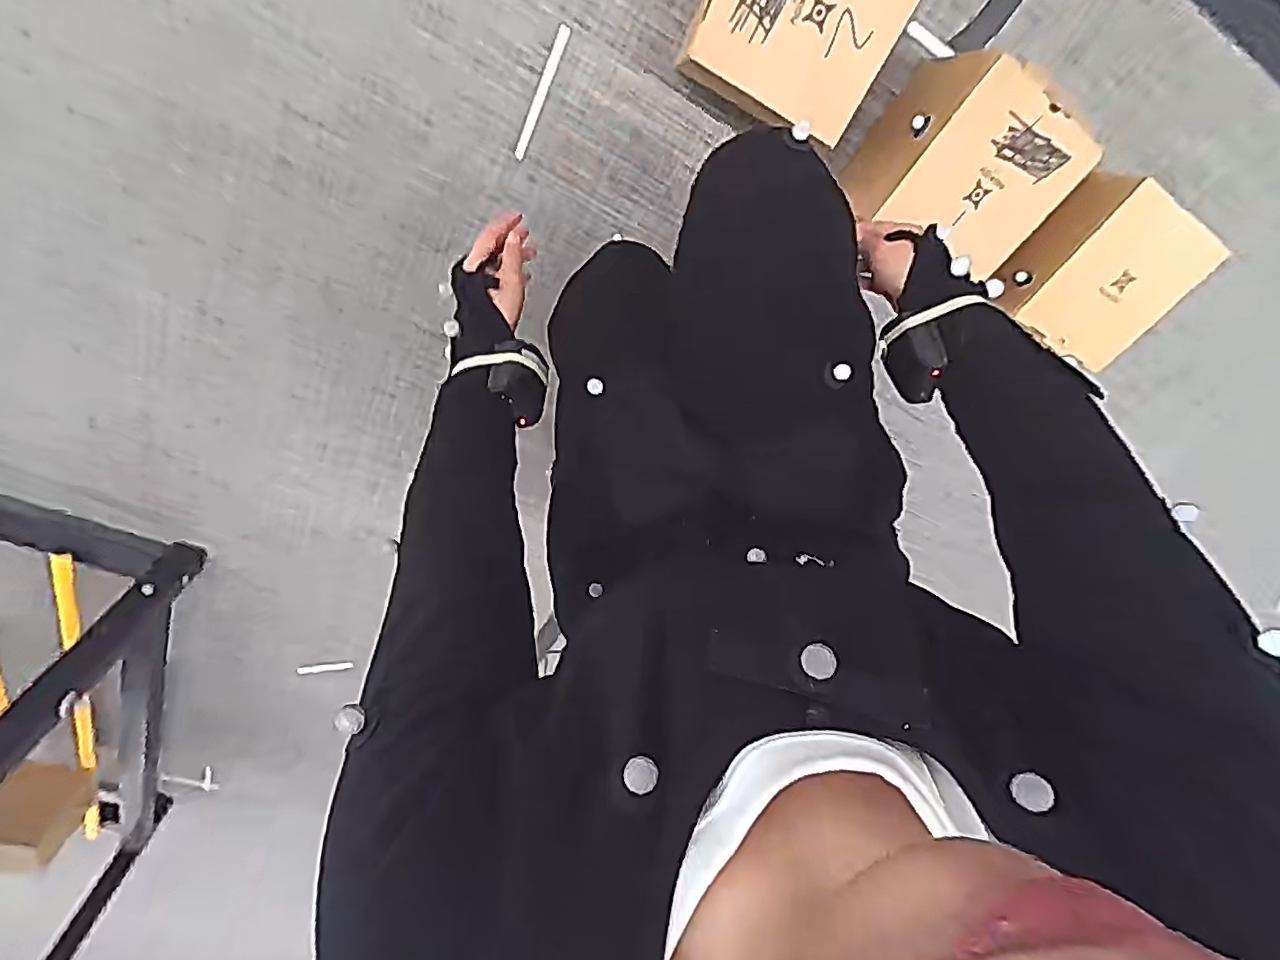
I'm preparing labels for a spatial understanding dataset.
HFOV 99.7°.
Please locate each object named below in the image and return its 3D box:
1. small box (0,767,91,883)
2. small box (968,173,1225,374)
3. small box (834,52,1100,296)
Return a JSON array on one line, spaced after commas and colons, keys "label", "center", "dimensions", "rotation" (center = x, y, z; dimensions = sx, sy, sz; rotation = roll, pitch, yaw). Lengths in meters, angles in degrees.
[{"label": "small box", "center": [-1.437, 0.791, 1.246], "dimensions": [0.179, 0.176, 0.168], "rotation": [20, 122, -17]}, {"label": "small box", "center": [0.565, -0.277, 0.708], "dimensions": [0.168, 0.176, 0.179], "rotation": [24, 121, -18]}, {"label": "small box", "center": [0.364, -0.358, 0.640], "dimensions": [0.168, 0.176, 0.179], "rotation": [26, 121, -18]}]
